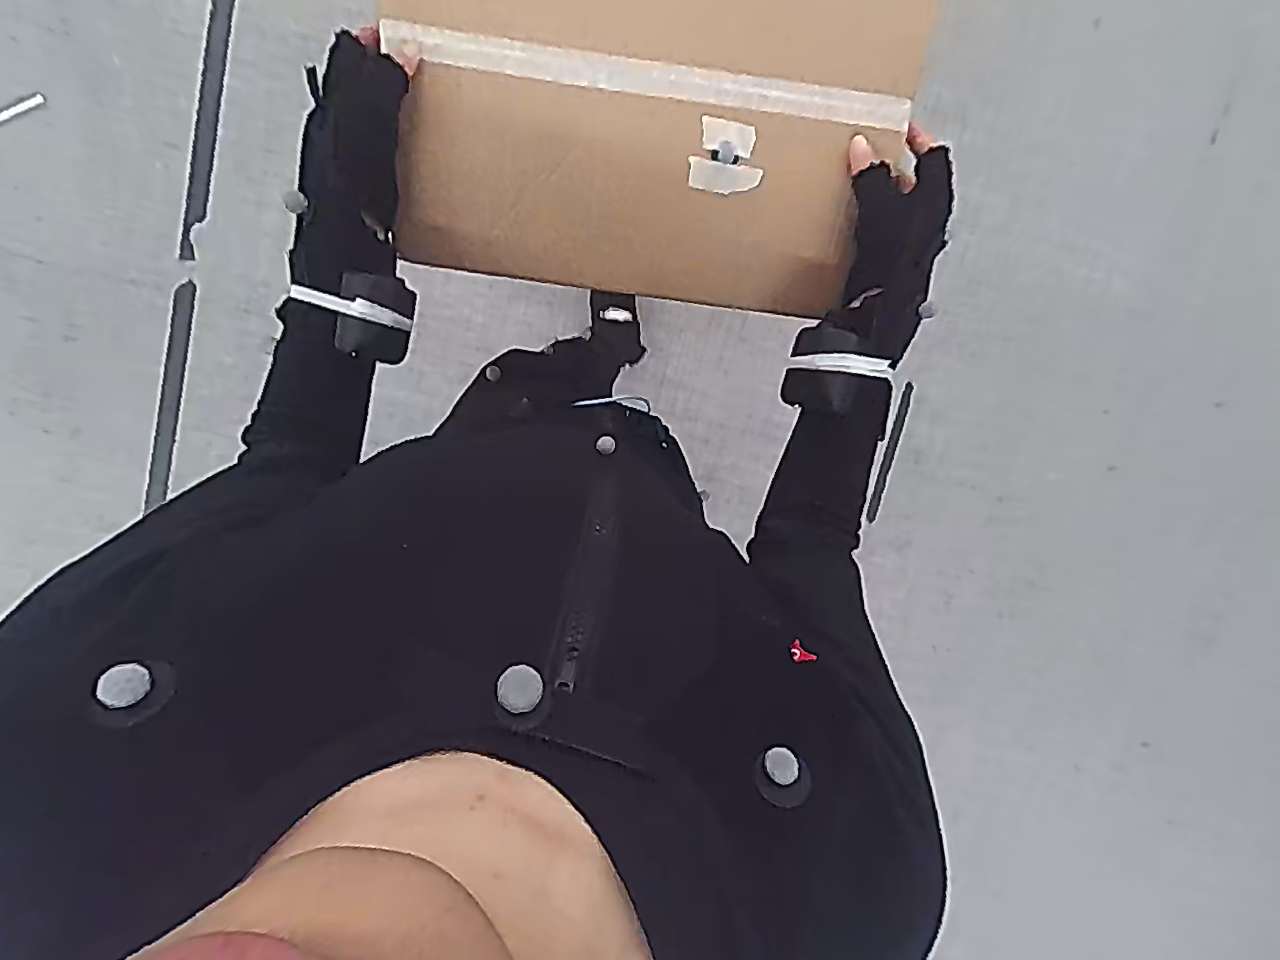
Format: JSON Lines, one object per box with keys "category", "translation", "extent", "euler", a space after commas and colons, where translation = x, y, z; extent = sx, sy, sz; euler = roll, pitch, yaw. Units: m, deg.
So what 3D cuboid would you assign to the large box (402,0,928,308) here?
{"category": "large box", "translation": [0.010, -0.378, 0.565], "extent": [0.408, 0.320, 0.320], "euler": [7, 115, -3]}
